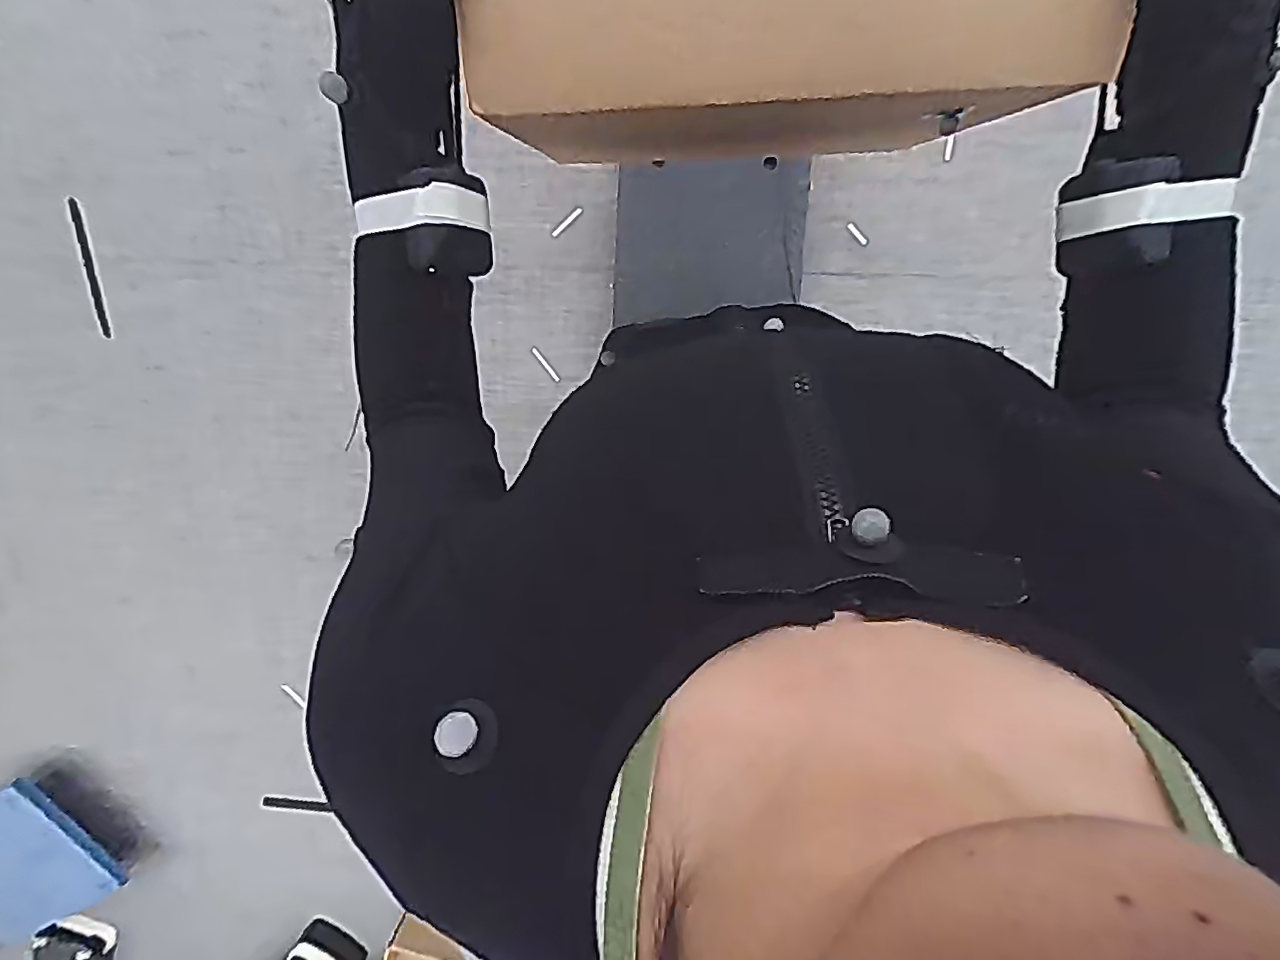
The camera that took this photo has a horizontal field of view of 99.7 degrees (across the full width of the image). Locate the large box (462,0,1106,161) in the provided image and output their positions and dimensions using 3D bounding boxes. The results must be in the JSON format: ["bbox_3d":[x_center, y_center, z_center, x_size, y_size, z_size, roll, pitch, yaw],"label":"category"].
[{"bbox_3d":[0.088,-0.449,0.425,0.408,0.320,0.320,-1,115,2],"label":"large box"}]
